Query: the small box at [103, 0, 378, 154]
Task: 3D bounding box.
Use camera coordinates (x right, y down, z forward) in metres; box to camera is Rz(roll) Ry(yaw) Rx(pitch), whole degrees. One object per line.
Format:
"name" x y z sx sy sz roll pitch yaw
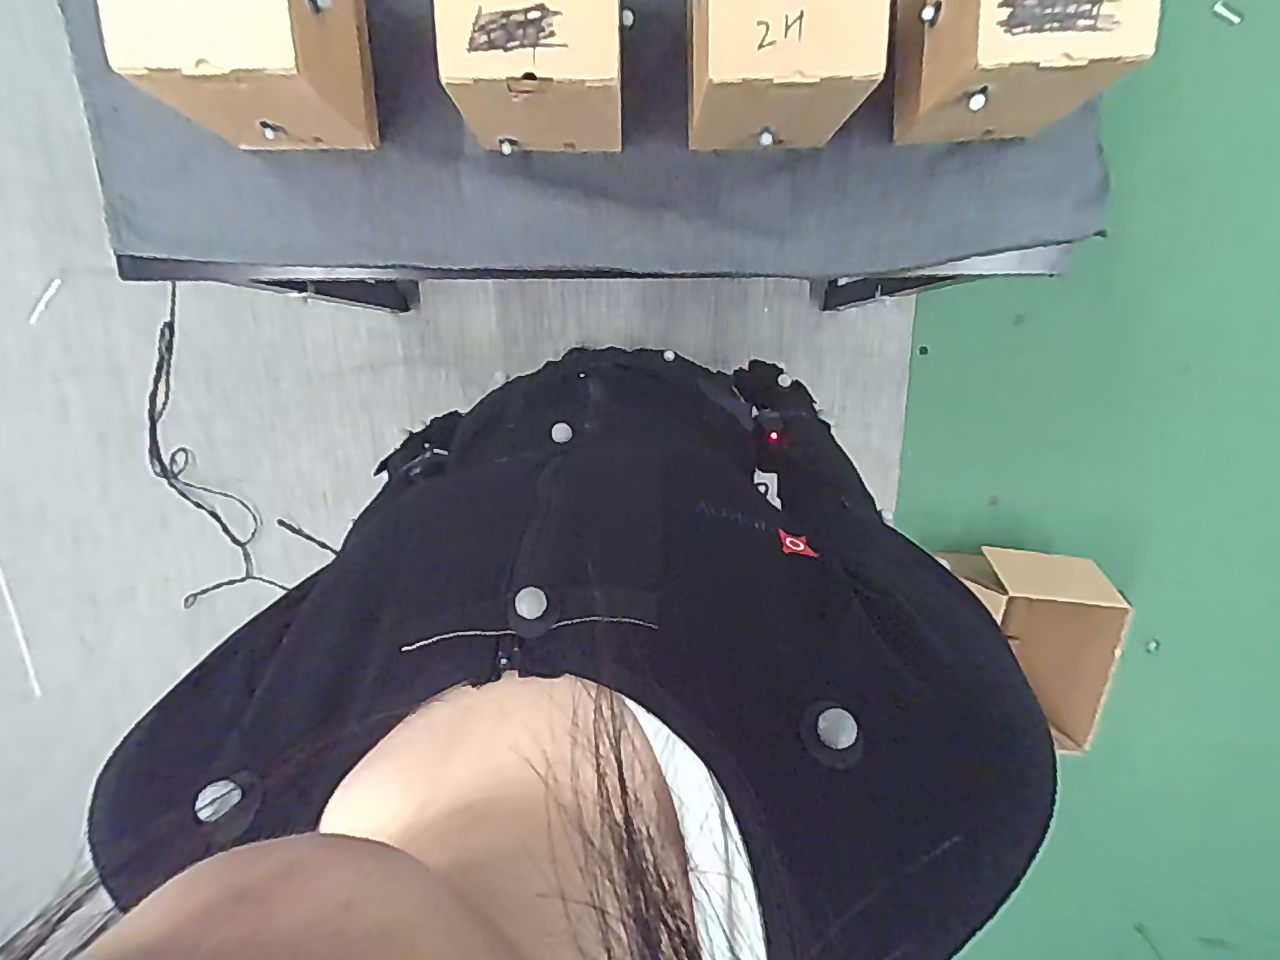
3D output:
"small box" -0.388 -0.461 0.548 0.168 0.176 0.179 -1 101 -2

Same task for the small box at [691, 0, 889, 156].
"small box" 0.142 -0.466 0.563 0.168 0.176 0.179 -1 102 0

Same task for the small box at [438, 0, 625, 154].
"small box" -0.100 -0.460 0.557 0.168 0.176 0.179 0 101 -2
